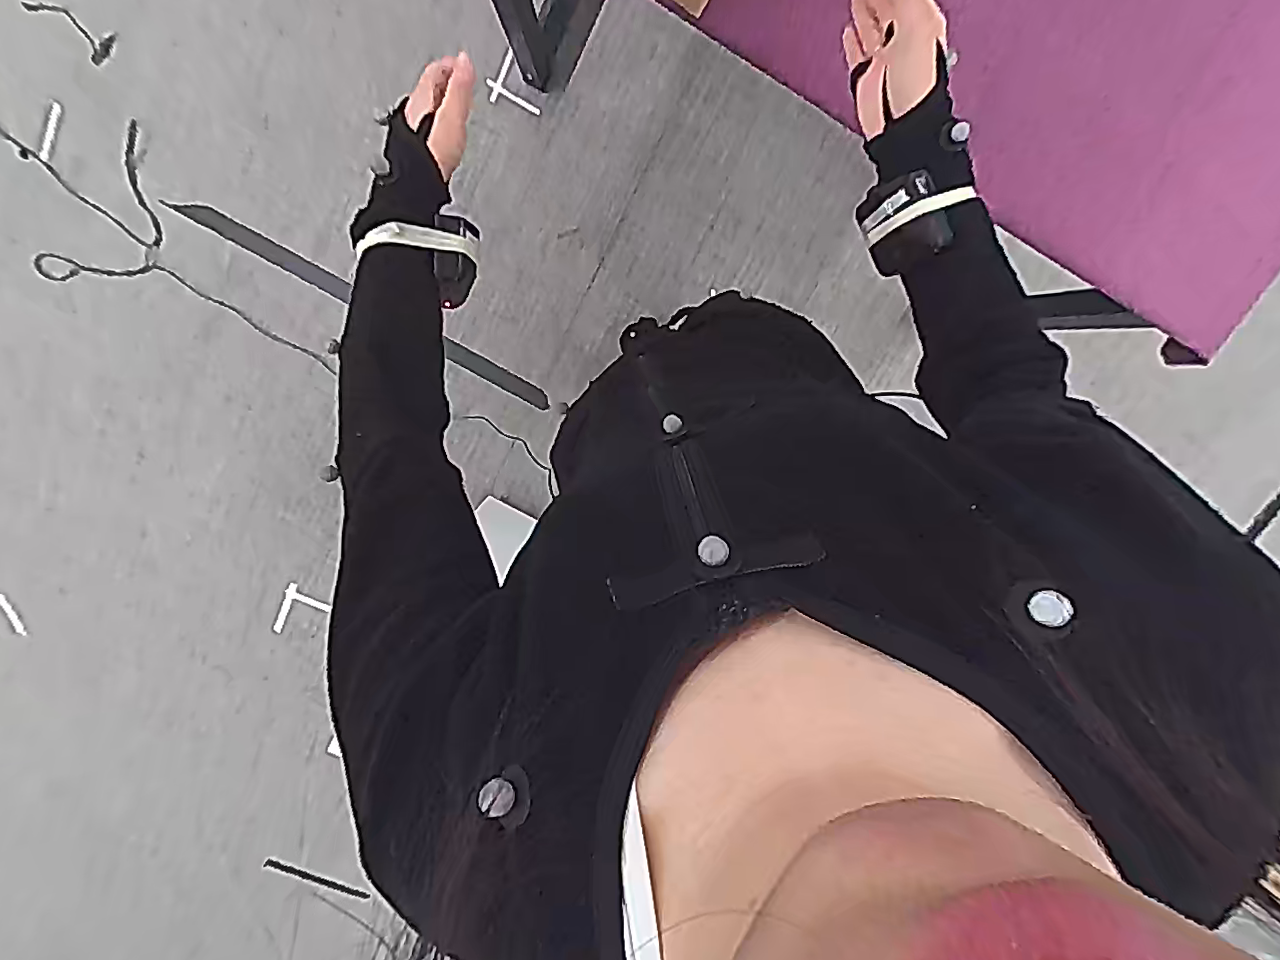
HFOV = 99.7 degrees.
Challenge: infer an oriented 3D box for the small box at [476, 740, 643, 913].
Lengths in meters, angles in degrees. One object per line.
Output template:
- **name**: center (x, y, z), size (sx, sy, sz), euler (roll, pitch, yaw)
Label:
- **small box**: center (-0.110, 0.520, 0.784), size (0.168, 0.176, 0.179), euler (27, 103, -8)

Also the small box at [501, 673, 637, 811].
- **small box**: center (-0.114, 0.479, 0.942), size (0.168, 0.176, 0.179), euler (29, 104, -8)
